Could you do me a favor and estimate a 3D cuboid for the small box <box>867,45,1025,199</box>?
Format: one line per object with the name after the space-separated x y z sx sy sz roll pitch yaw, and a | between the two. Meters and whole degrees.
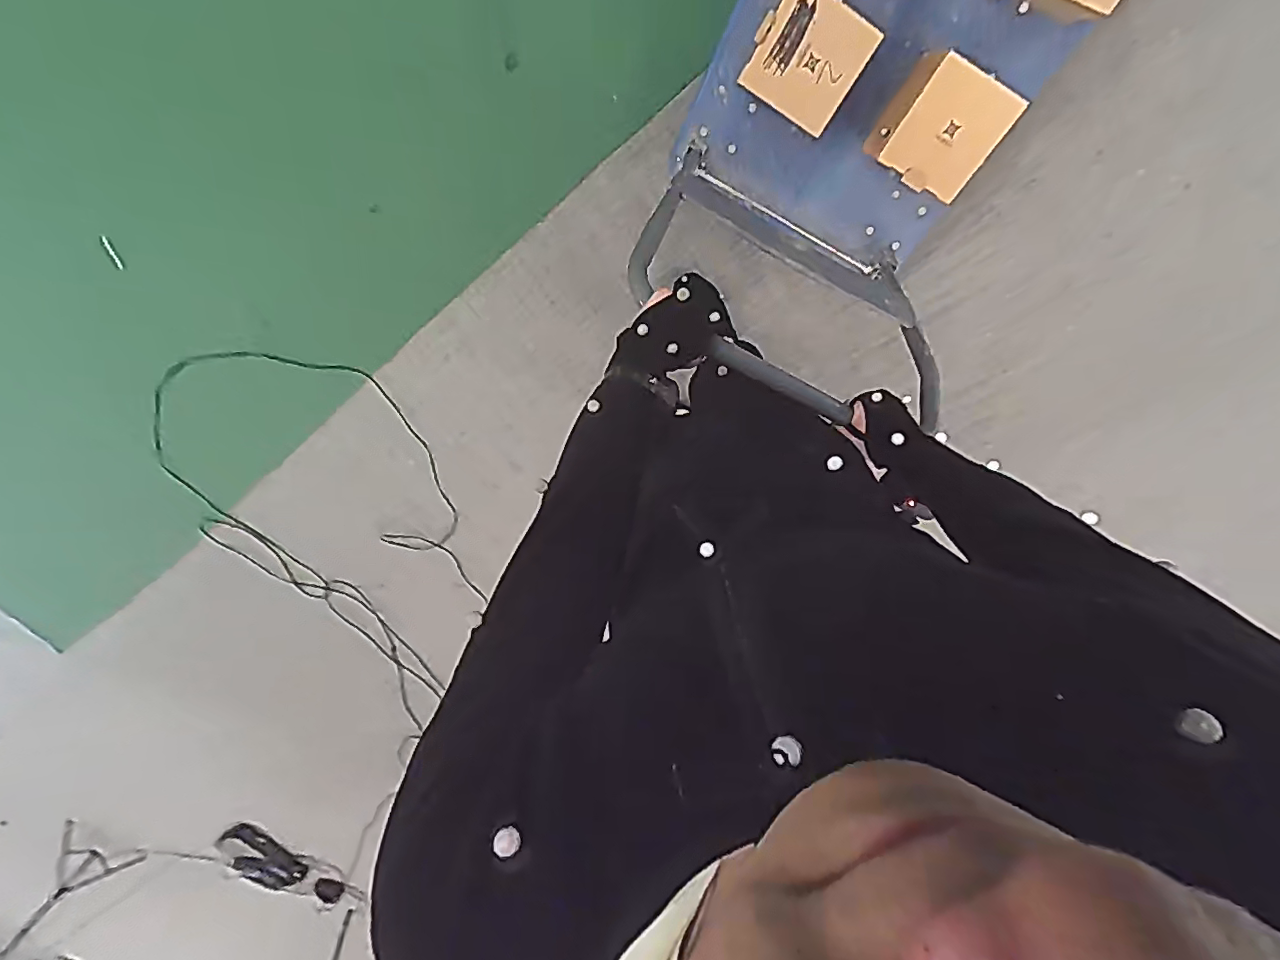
0.545 -0.659 0.996 0.168 0.176 0.179 26 129 -9 | small box

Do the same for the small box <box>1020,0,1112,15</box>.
0.669 -0.848 0.821 0.168 0.176 0.179 21 129 -4 | small box
